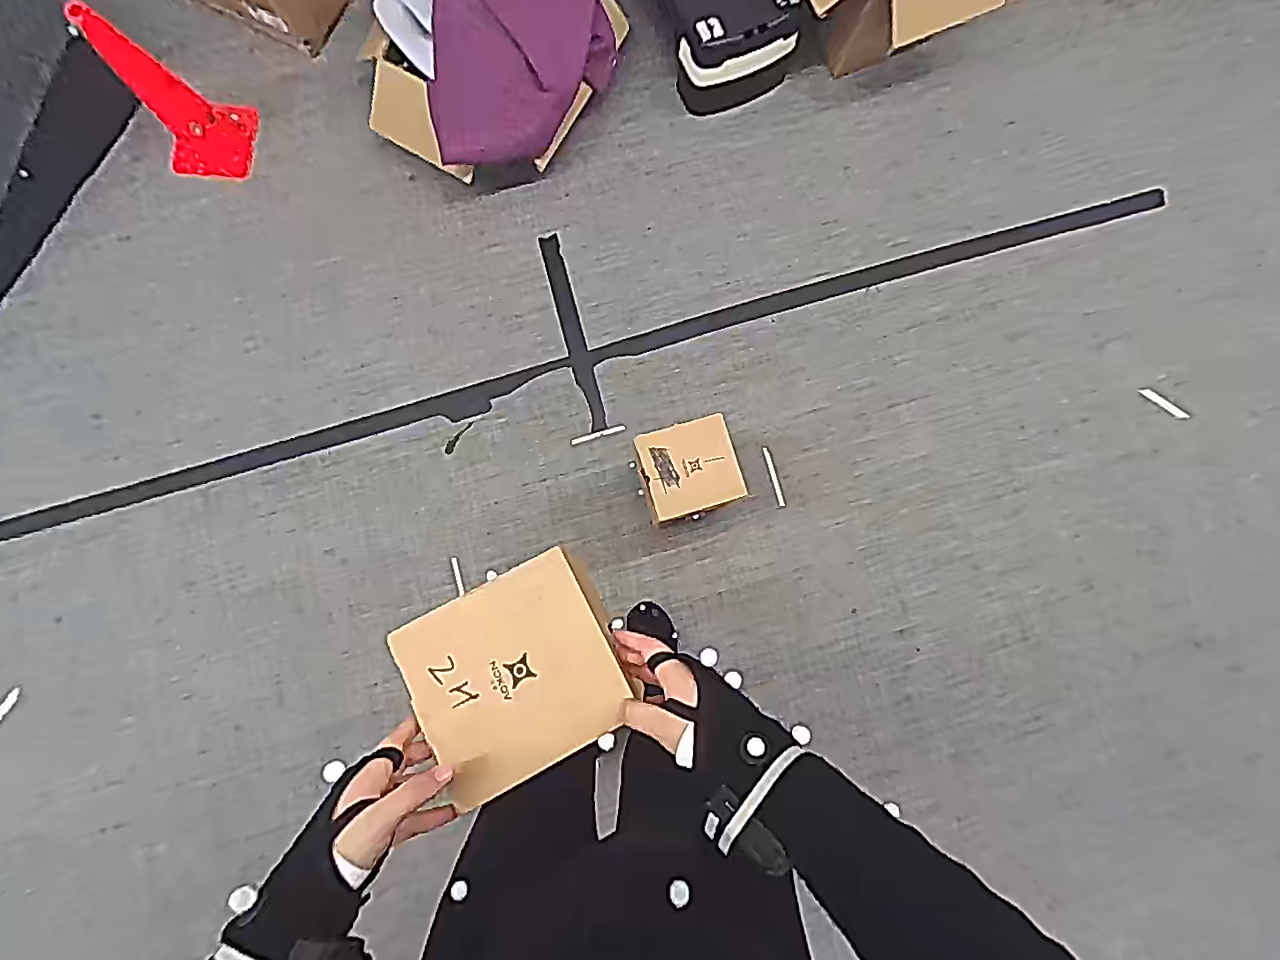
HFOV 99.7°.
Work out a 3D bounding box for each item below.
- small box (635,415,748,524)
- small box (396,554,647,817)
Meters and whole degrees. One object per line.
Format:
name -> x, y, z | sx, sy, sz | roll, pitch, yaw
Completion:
small box -> 0.094, -0.012, 1.076 | 0.179, 0.176, 0.168 | -16, 84, -4
small box -> -0.106, 0.192, 0.553 | 0.179, 0.176, 0.168 | -28, 77, -5
